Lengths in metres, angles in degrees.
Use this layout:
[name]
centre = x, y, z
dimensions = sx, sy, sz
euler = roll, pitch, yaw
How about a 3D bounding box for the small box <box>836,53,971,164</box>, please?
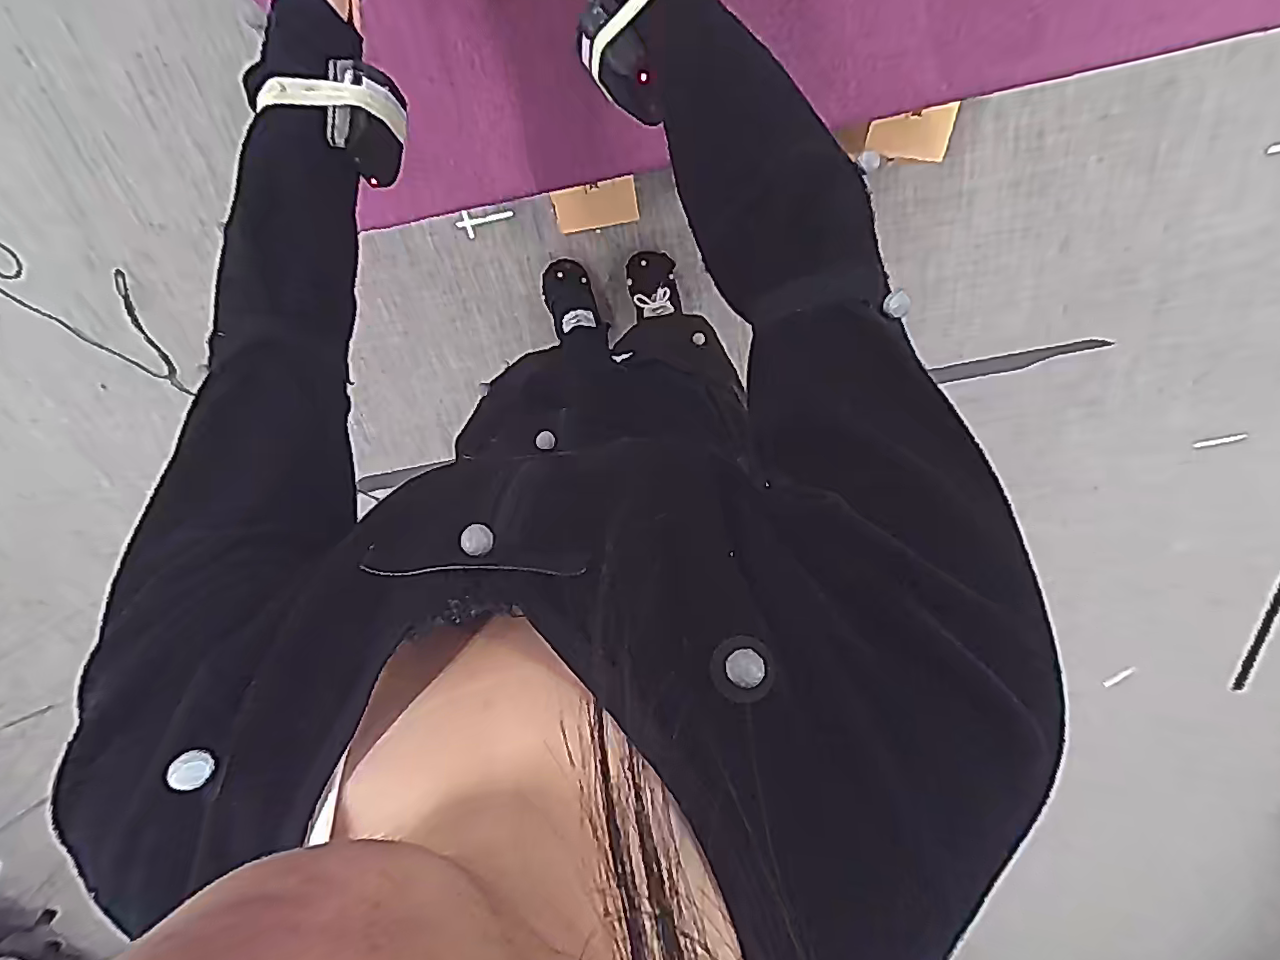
[small box]
centre = 0.546, -0.776, 1.146
dimensions = 0.179, 0.176, 0.168
euler = 4, 117, -5
